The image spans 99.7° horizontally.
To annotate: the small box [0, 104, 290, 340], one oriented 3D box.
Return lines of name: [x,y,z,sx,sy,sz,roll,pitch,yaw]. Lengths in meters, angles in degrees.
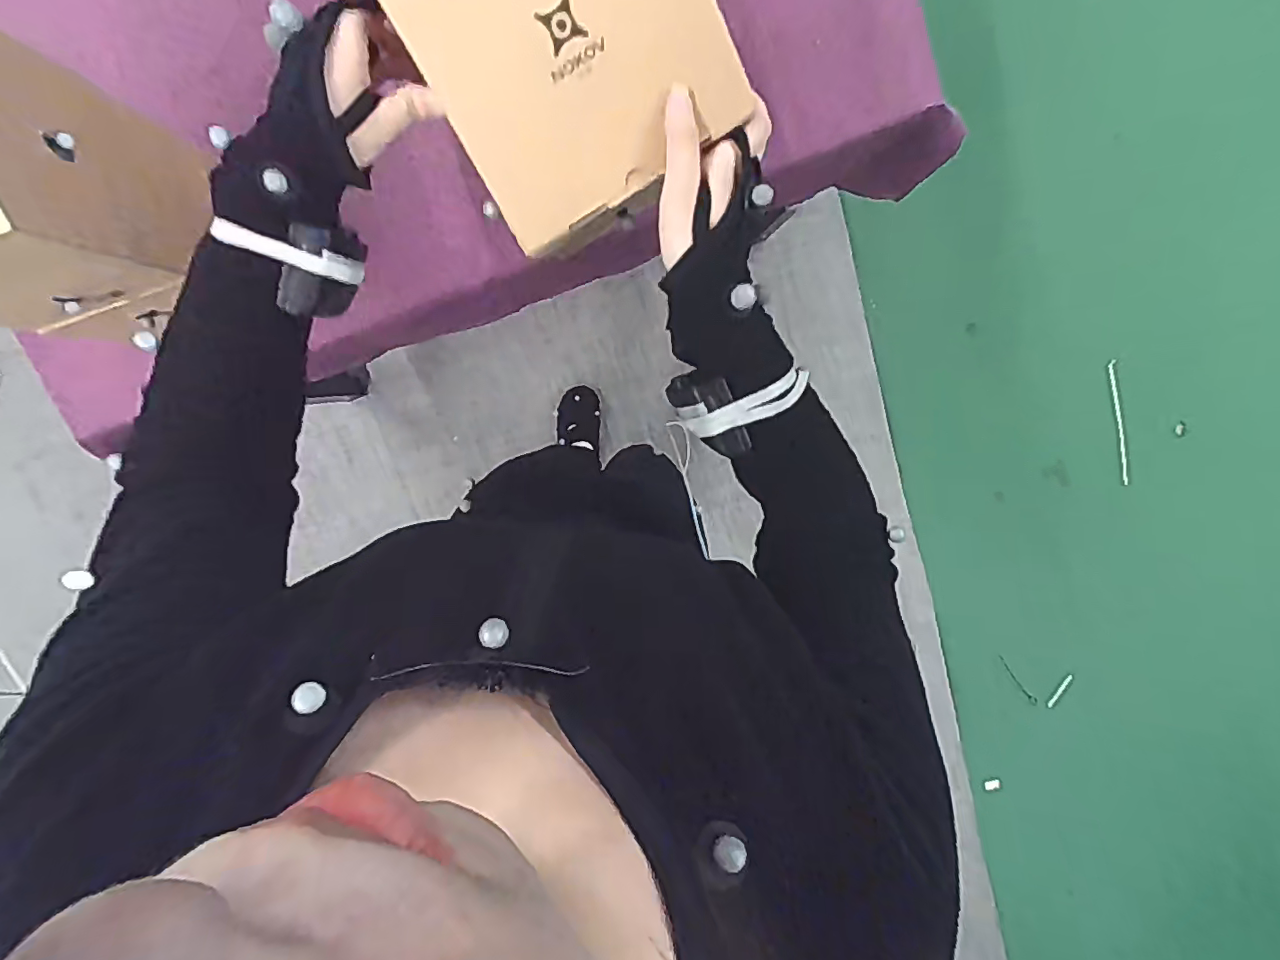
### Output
small box: [-0.543,-0.263,0.598,0.179,0.176,0.168,-20,101,-1]

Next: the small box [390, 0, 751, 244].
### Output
small box: [-0.045,-0.288,0.384,0.168,0.176,0.179,-27,111,9]
